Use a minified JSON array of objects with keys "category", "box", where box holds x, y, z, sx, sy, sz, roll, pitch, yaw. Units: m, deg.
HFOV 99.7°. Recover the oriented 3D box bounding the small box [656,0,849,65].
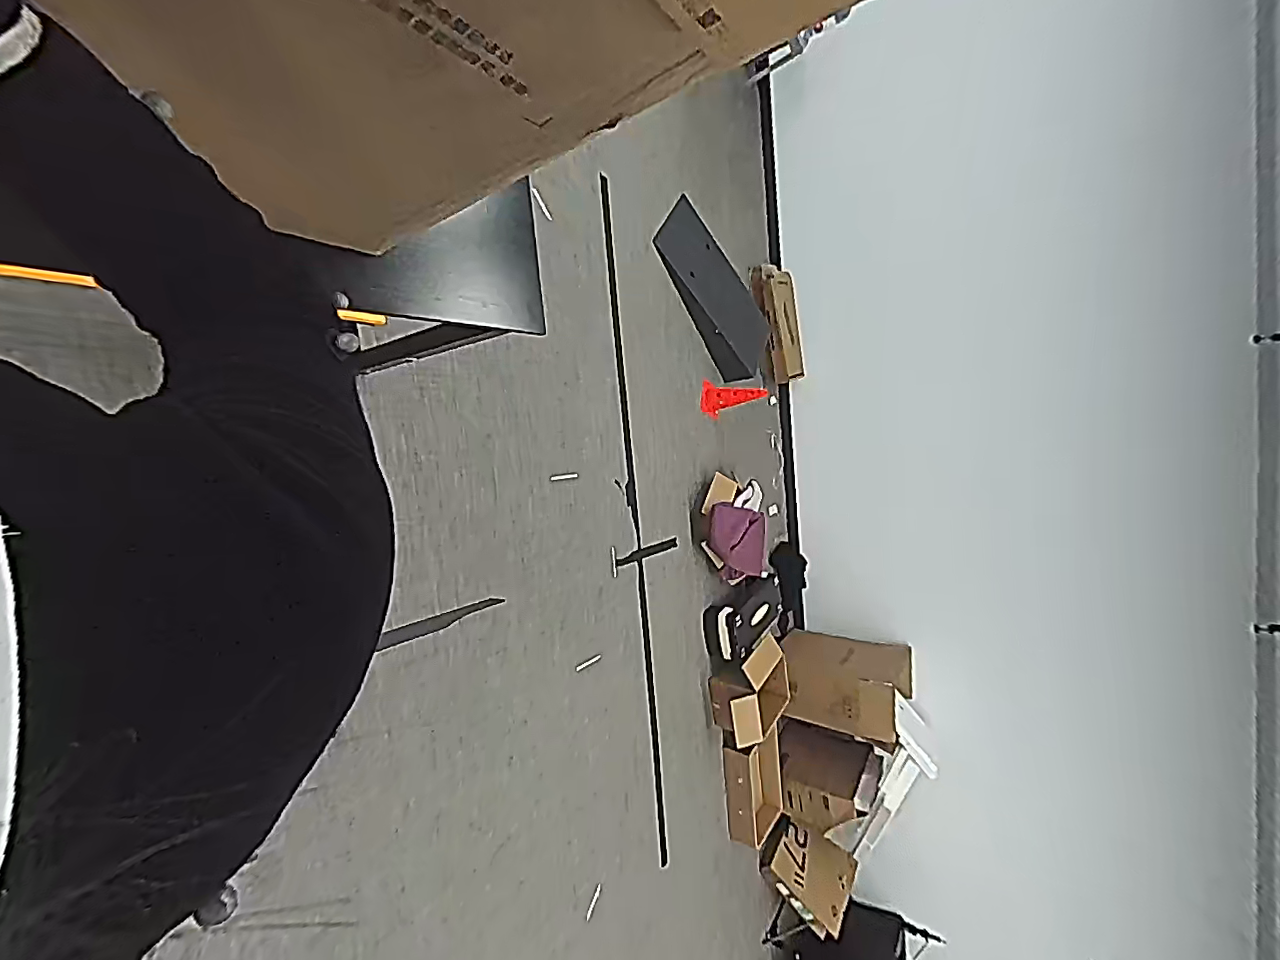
[{"category":"small box","box":[0.078,-0.406,0.327,0.168,0.176,0.179,-10,99,-53]}]
